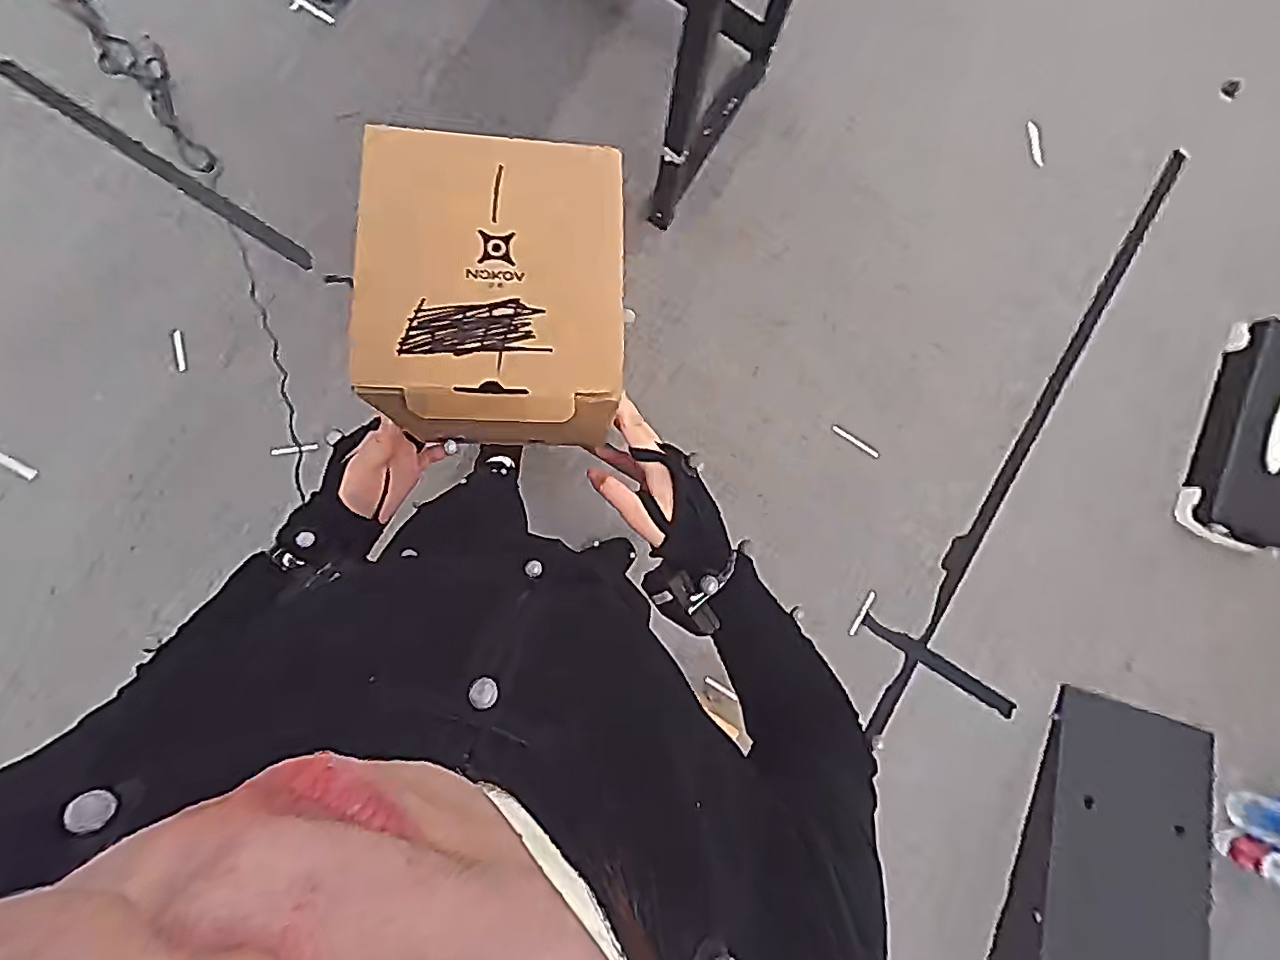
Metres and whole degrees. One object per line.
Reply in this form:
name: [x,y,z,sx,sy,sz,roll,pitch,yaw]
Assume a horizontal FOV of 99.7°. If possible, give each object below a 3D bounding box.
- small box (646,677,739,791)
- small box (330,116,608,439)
small box: [0.129,0.653,1.411,0.168,0.176,0.179,35,85,-3]
small box: [-0.111,-0.129,0.411,0.168,0.176,0.179,-1,83,-8]
